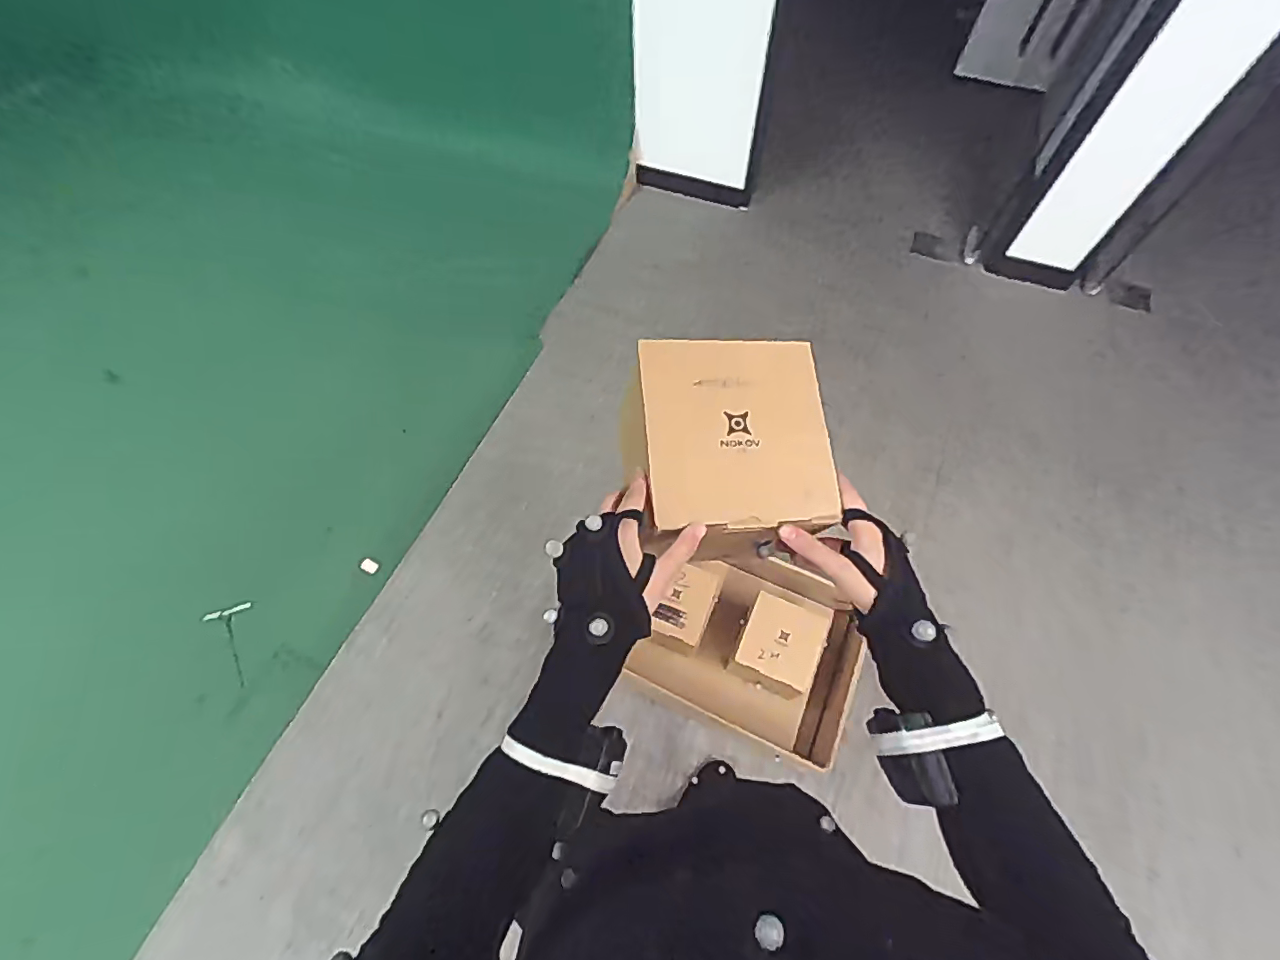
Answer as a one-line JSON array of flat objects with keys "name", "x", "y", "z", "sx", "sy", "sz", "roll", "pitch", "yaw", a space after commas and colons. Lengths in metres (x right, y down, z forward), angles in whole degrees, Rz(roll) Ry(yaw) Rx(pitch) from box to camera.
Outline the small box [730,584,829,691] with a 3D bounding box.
[{"name": "small box", "x": 0.320, "y": 0.375, "z": 1.274, "sx": 0.168, "sy": 0.176, "sz": 0.179, "roll": 22, "pitch": 66, "yaw": 14}]

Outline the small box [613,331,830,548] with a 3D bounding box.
[{"name": "small box", "x": 0.065, "y": -0.030, "z": 0.546, "sx": 0.168, "sy": 0.176, "sz": 0.179, "roll": -2, "pitch": 72, "yaw": -9}]
